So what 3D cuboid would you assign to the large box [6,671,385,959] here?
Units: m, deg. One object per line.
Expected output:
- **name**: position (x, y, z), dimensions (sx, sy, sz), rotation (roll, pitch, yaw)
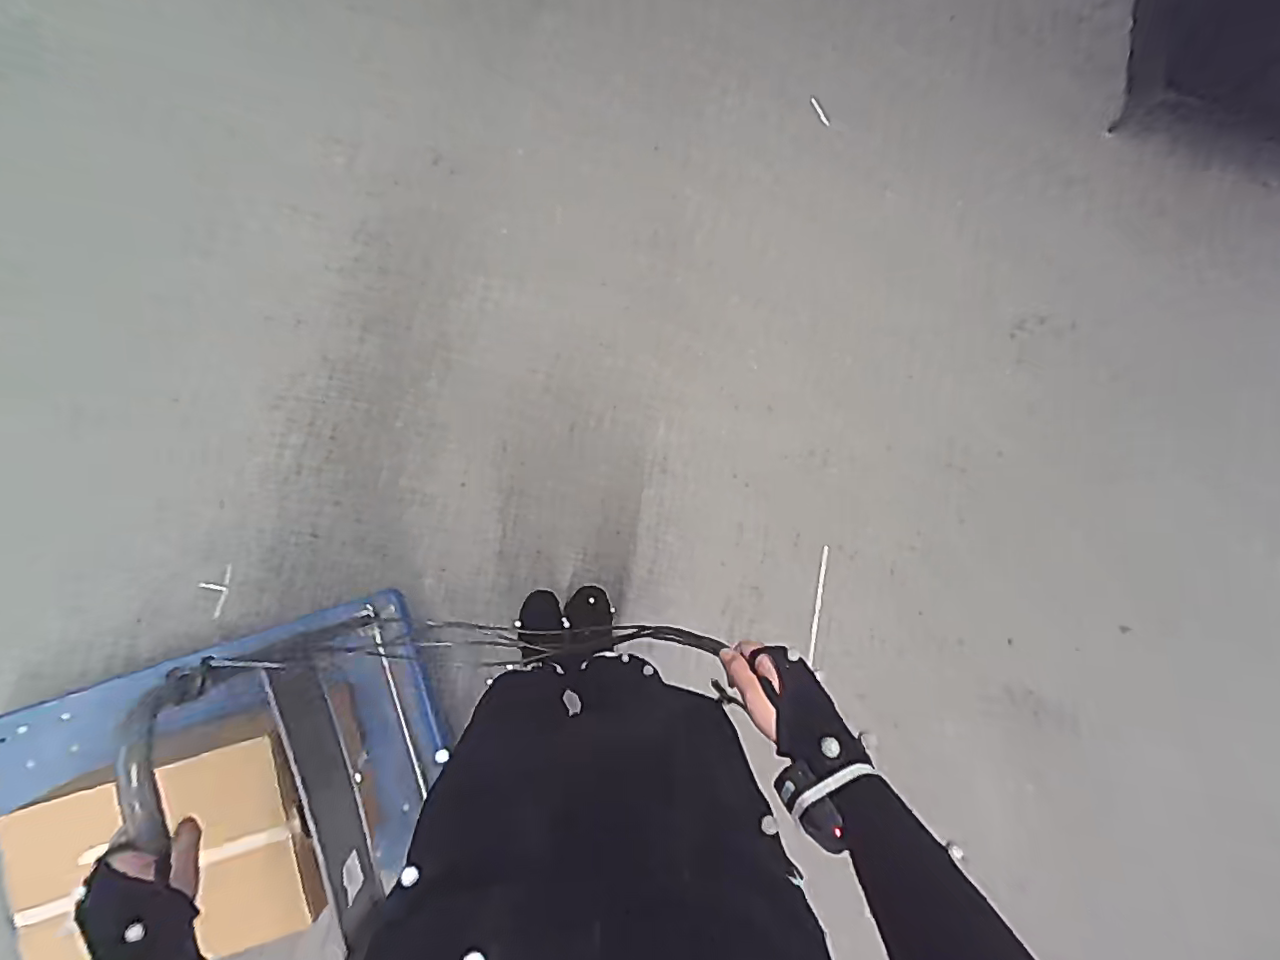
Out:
- **large box**: position (-0.759, 0.601, 0.996), dimensions (0.408, 0.320, 0.320), rotation (-16, 87, -7)
